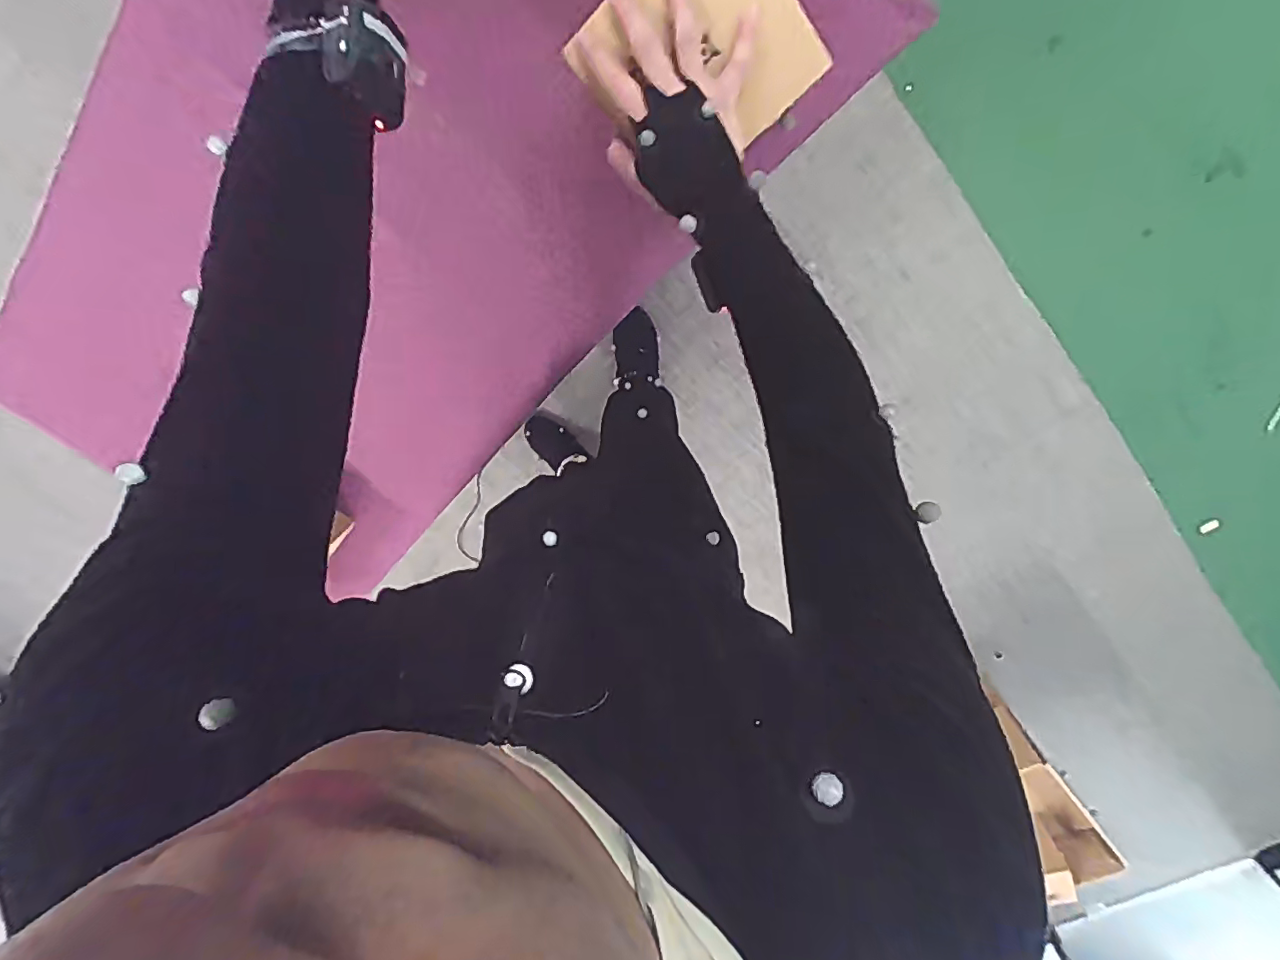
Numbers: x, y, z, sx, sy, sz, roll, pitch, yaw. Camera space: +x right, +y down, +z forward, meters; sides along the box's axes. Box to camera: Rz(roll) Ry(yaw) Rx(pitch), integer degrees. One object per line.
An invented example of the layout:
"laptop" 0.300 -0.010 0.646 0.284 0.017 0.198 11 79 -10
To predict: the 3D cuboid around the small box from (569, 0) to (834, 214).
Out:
"small box" 0.055 -0.396 0.536 0.179 0.176 0.168 -36 110 20
